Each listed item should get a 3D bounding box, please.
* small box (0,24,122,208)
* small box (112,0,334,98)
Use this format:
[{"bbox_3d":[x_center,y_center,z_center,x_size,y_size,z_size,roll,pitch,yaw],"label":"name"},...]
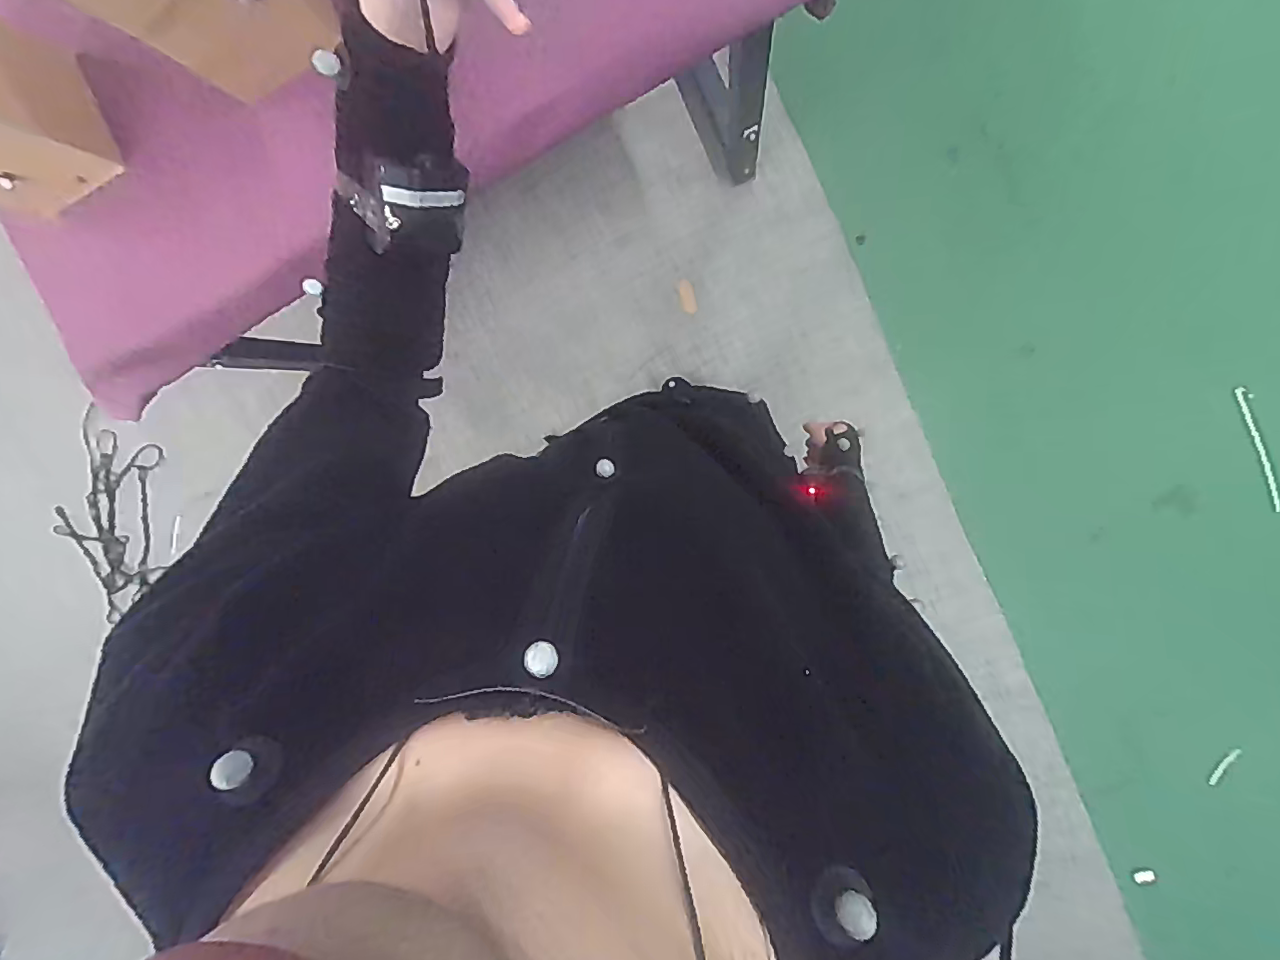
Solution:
[{"bbox_3d":[-0.871,-0.496,0.730,0.168,0.176,0.179,-21,95,12],"label":"small box"},{"bbox_3d":[-0.508,-0.617,0.649,0.179,0.176,0.168,-22,95,12],"label":"small box"}]
